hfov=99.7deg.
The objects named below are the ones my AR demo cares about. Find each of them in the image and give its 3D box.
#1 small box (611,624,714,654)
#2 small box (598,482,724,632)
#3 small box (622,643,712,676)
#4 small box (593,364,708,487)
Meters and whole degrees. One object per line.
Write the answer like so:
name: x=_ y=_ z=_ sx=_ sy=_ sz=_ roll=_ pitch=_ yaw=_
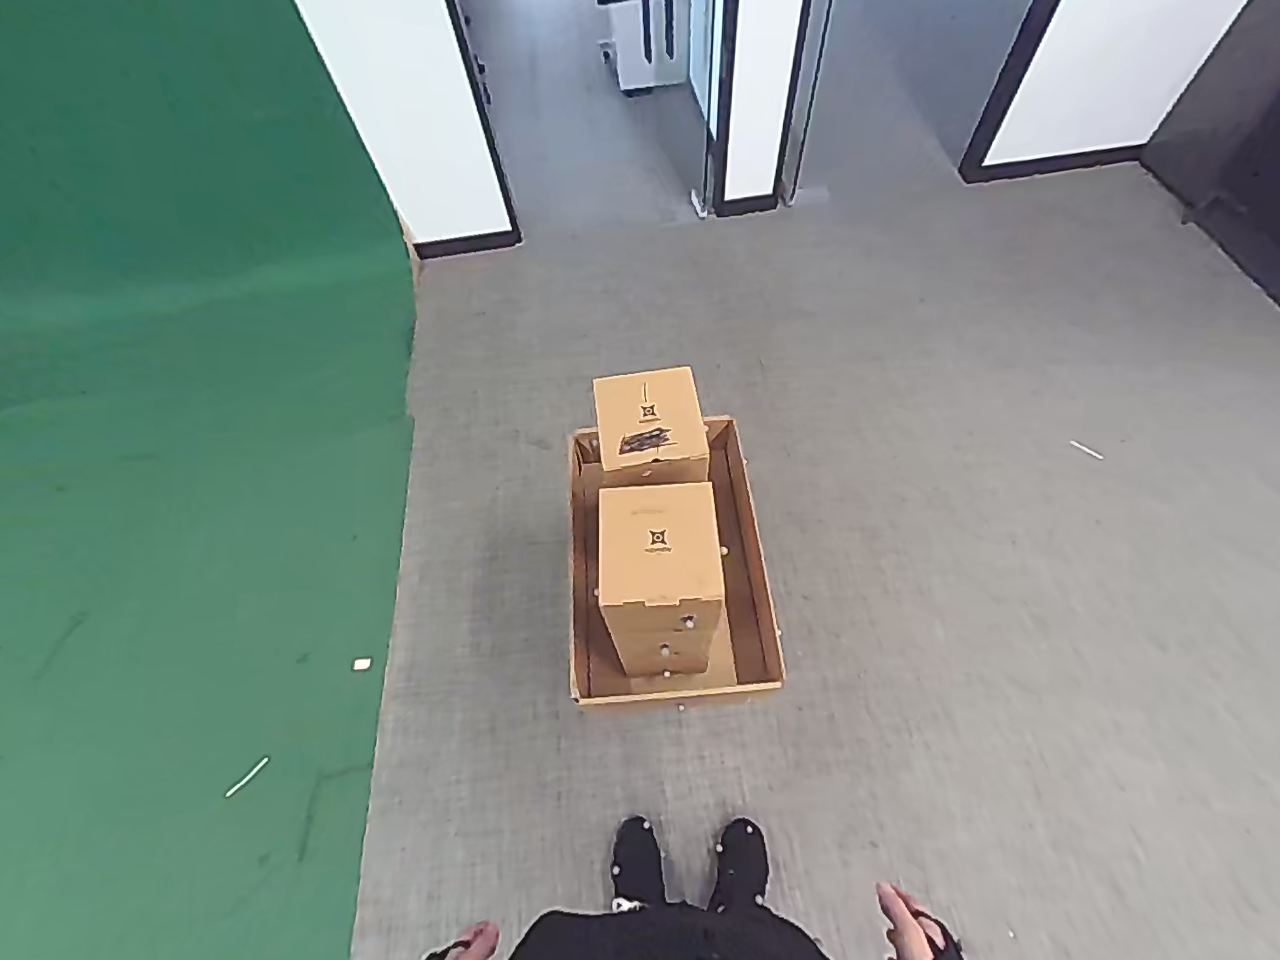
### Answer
small box: x=0.038 y=0.199 z=0.943 sx=0.168 sy=0.176 sz=0.179 roll=-5 pitch=60 yaw=1
small box: x=0.031 y=0.121 z=0.799 sx=0.168 sy=0.176 sz=0.179 roll=-3 pitch=59 yaw=2
small box: x=0.050 y=0.281 z=1.083 sx=0.168 sy=0.176 sz=0.179 roll=-5 pitch=59 yaw=2
small box: x=0.018 y=-0.066 z=0.914 sx=0.168 sy=0.176 sz=0.179 roll=-8 pitch=62 yaw=0
